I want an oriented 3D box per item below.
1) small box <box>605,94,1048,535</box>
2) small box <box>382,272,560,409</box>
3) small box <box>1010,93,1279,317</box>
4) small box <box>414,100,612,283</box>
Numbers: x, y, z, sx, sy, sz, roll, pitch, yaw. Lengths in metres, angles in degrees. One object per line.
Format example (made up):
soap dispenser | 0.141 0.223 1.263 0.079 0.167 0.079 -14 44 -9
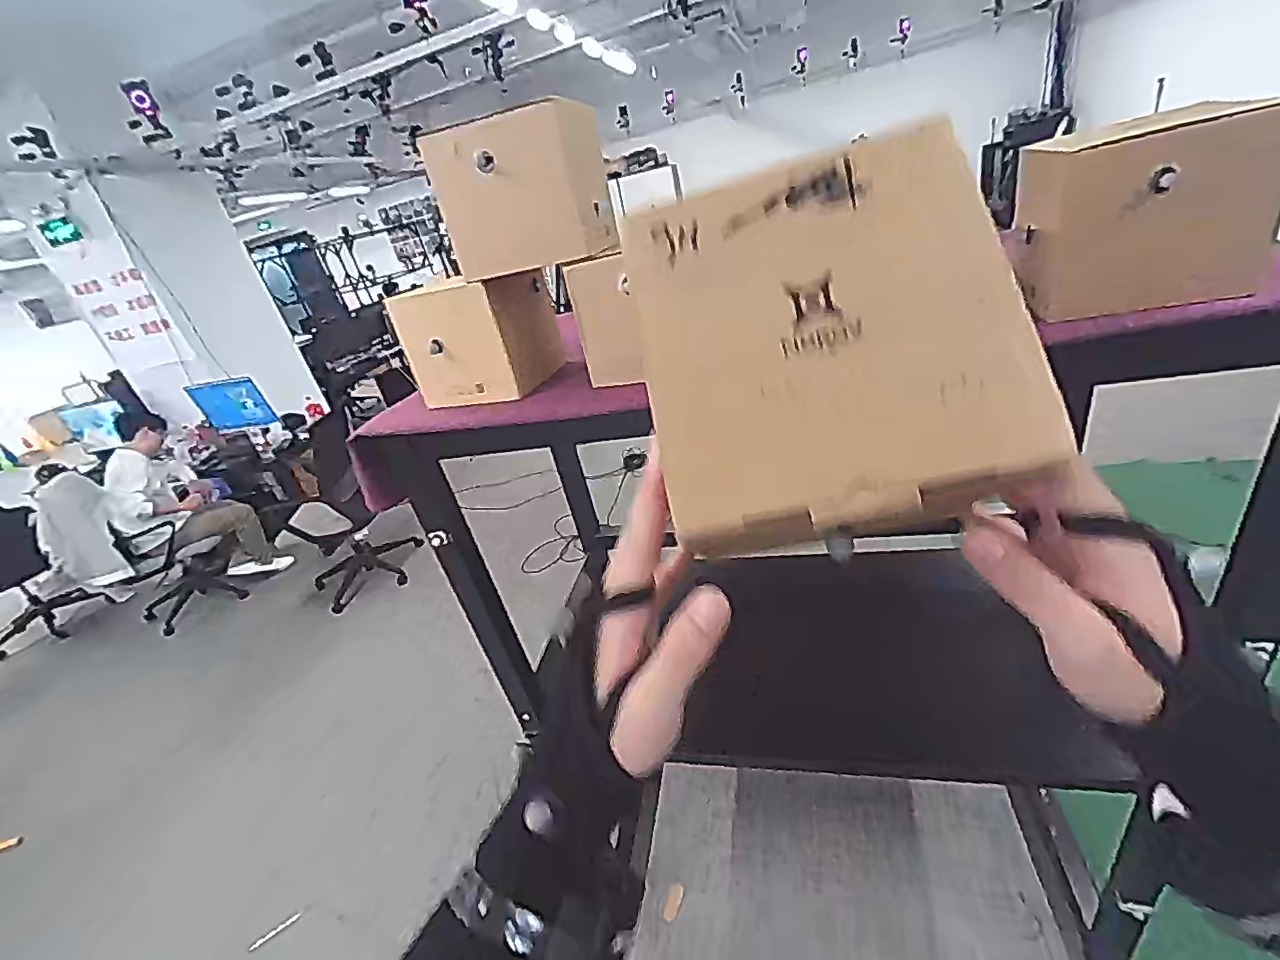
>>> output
small box | 0.091 -0.067 0.325 0.168 0.179 0.176 -12 -14 11
small box | -0.241 -0.213 0.824 0.168 0.176 0.179 -3 28 21
small box | 0.517 -0.285 0.579 0.179 0.176 0.168 -4 30 21
small box | -0.148 -0.364 0.704 0.179 0.176 0.168 -5 28 16
